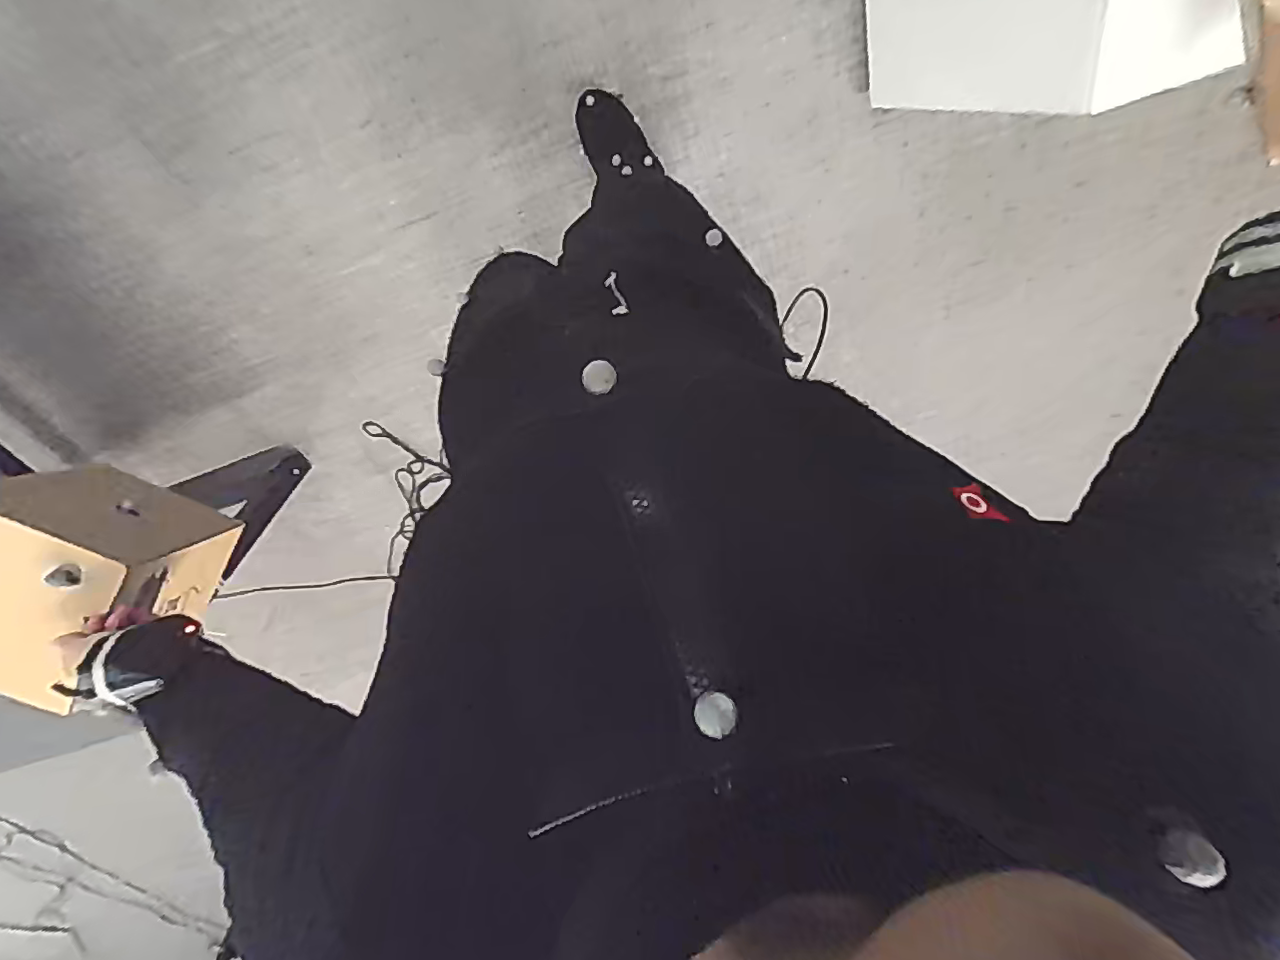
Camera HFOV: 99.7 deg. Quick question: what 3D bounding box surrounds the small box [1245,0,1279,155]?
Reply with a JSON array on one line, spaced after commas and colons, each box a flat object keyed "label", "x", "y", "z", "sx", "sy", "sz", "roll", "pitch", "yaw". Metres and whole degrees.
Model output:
[{"label": "small box", "x": 0.562, "y": -0.383, "z": 0.387, "sx": 0.168, "sy": 0.179, "sz": 0.176, "roll": -6, "pitch": 126, "yaw": 49}]
